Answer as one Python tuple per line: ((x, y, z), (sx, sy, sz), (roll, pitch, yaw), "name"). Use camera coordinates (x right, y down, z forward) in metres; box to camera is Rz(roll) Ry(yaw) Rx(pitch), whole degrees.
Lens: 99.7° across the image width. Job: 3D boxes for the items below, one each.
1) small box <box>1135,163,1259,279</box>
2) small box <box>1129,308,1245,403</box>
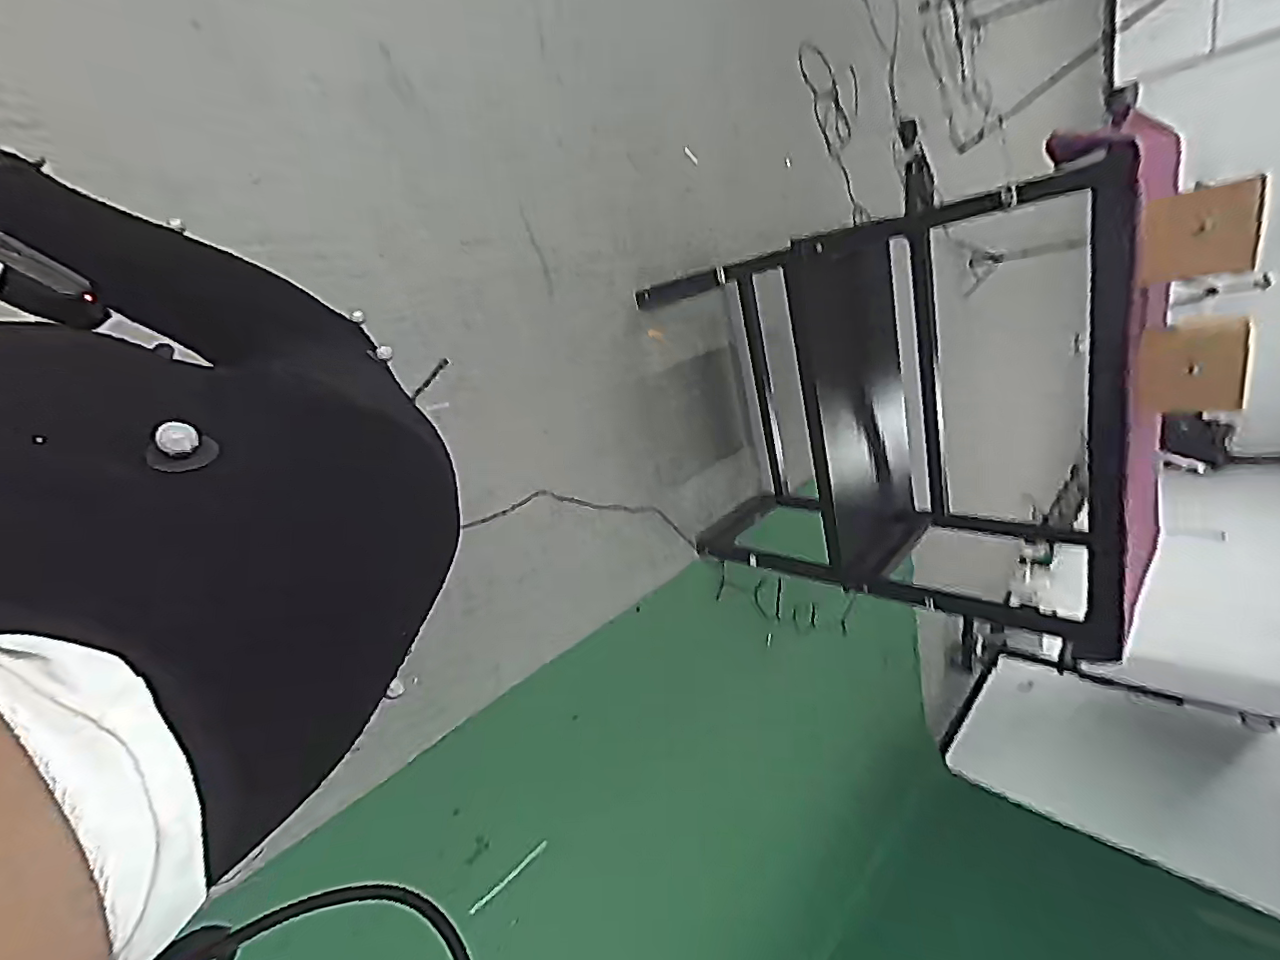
((1.150, -0.532, 1.121), (0.168, 0.176, 0.179), (-26, 111, -37), "small box")
((1.222, -0.276, 1.213), (0.168, 0.176, 0.179), (-25, 110, -39), "small box")
